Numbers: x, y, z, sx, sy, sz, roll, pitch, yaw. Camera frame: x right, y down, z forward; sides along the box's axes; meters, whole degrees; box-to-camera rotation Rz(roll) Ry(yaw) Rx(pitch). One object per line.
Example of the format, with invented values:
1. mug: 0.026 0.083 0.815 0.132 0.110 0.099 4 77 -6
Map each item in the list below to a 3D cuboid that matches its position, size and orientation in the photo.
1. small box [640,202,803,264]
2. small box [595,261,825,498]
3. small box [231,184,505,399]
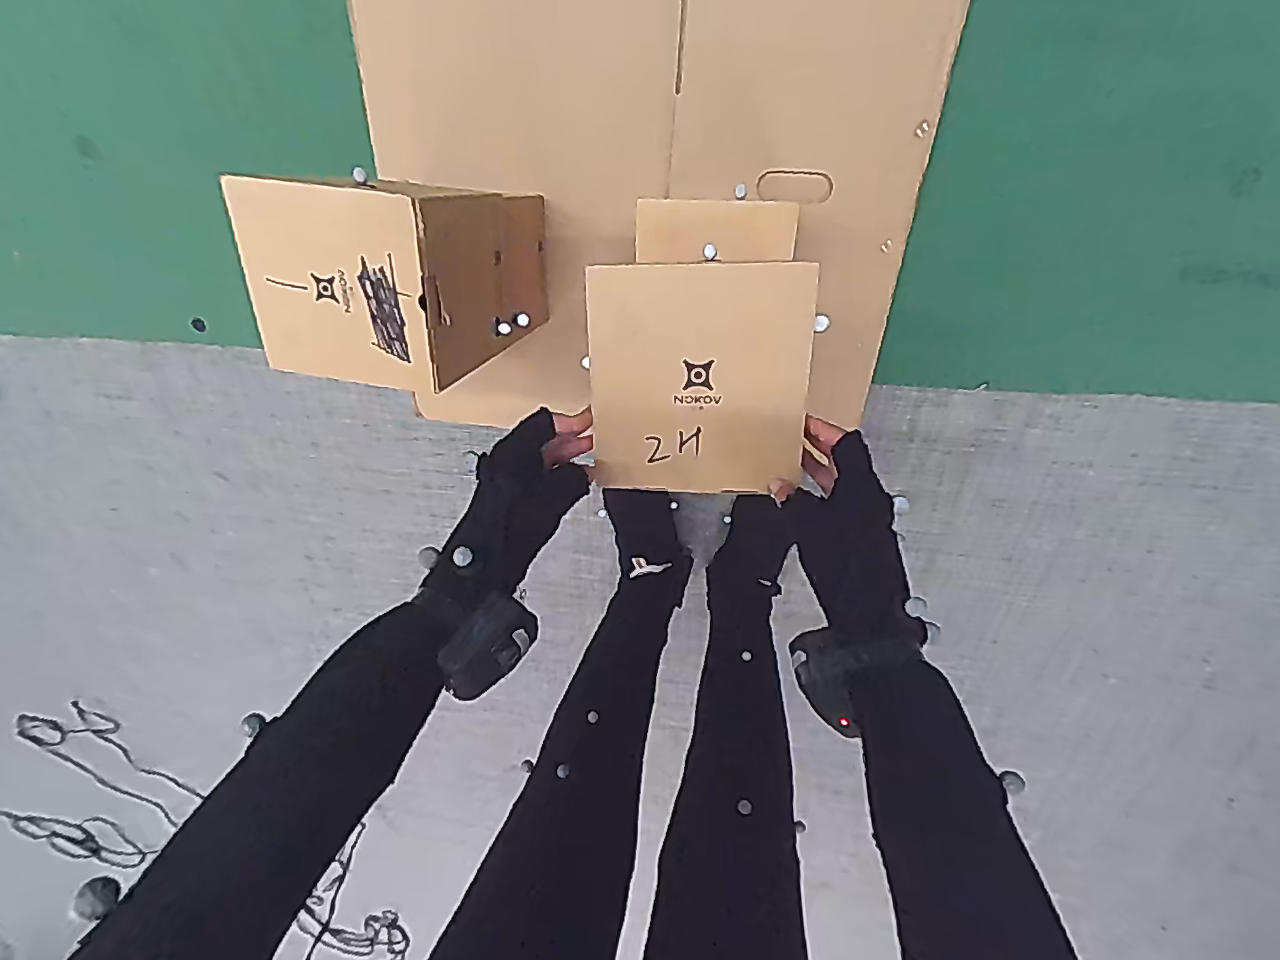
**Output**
1. small box: 0.091 -0.234 0.650 0.168 0.176 0.179 5 119 8
2. small box: 0.057 -0.098 0.482 0.168 0.176 0.179 2 111 7
3. small box: -0.244 -0.196 0.540 0.179 0.176 0.168 10 119 8
